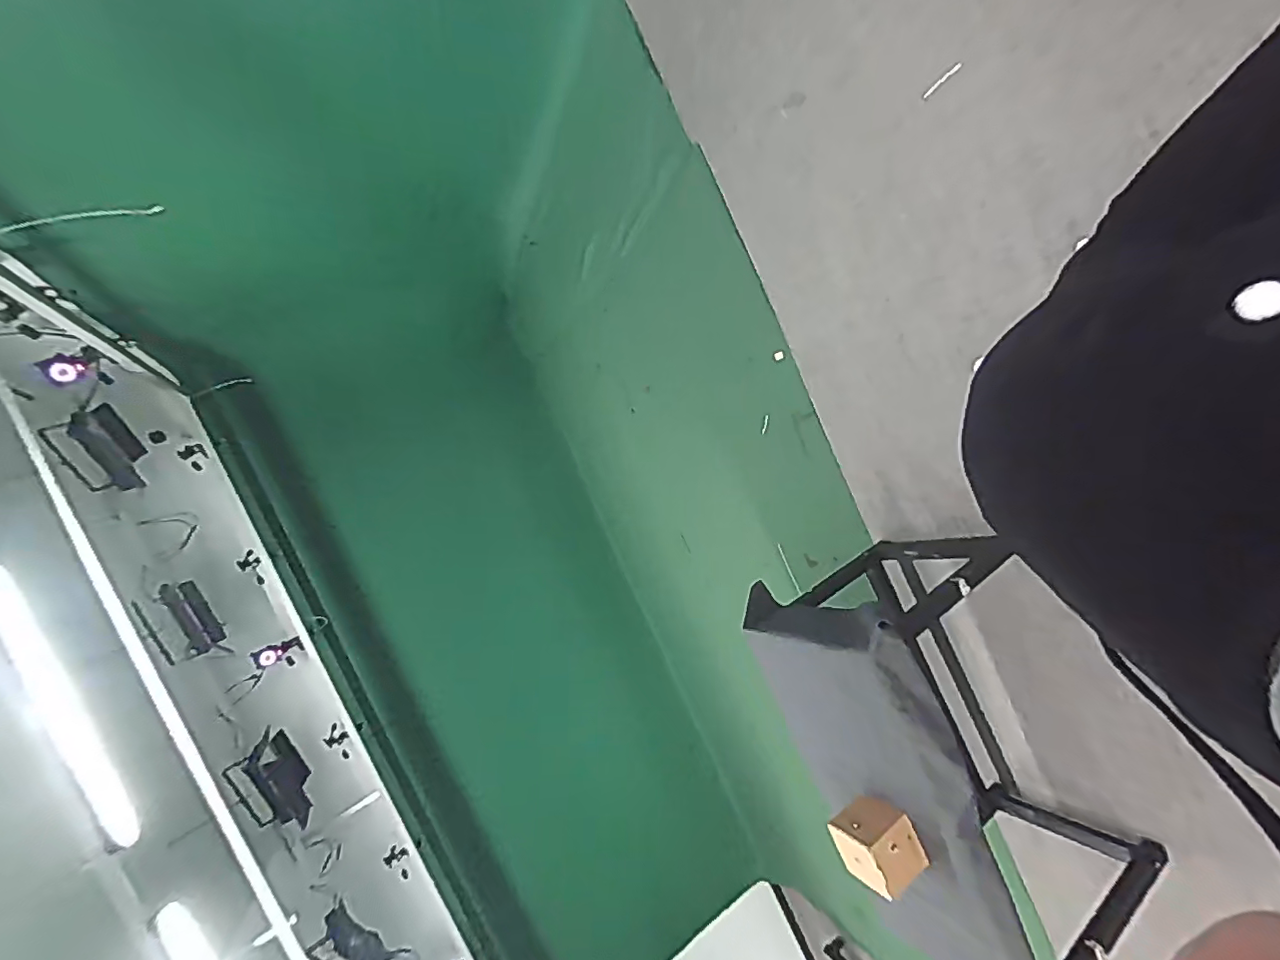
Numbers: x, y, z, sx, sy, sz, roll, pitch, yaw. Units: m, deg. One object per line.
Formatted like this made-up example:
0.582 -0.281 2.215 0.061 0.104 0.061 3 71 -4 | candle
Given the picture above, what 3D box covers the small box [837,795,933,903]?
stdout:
0.729 1.078 1.598 0.168 0.176 0.179 66 158 -1 | small box
